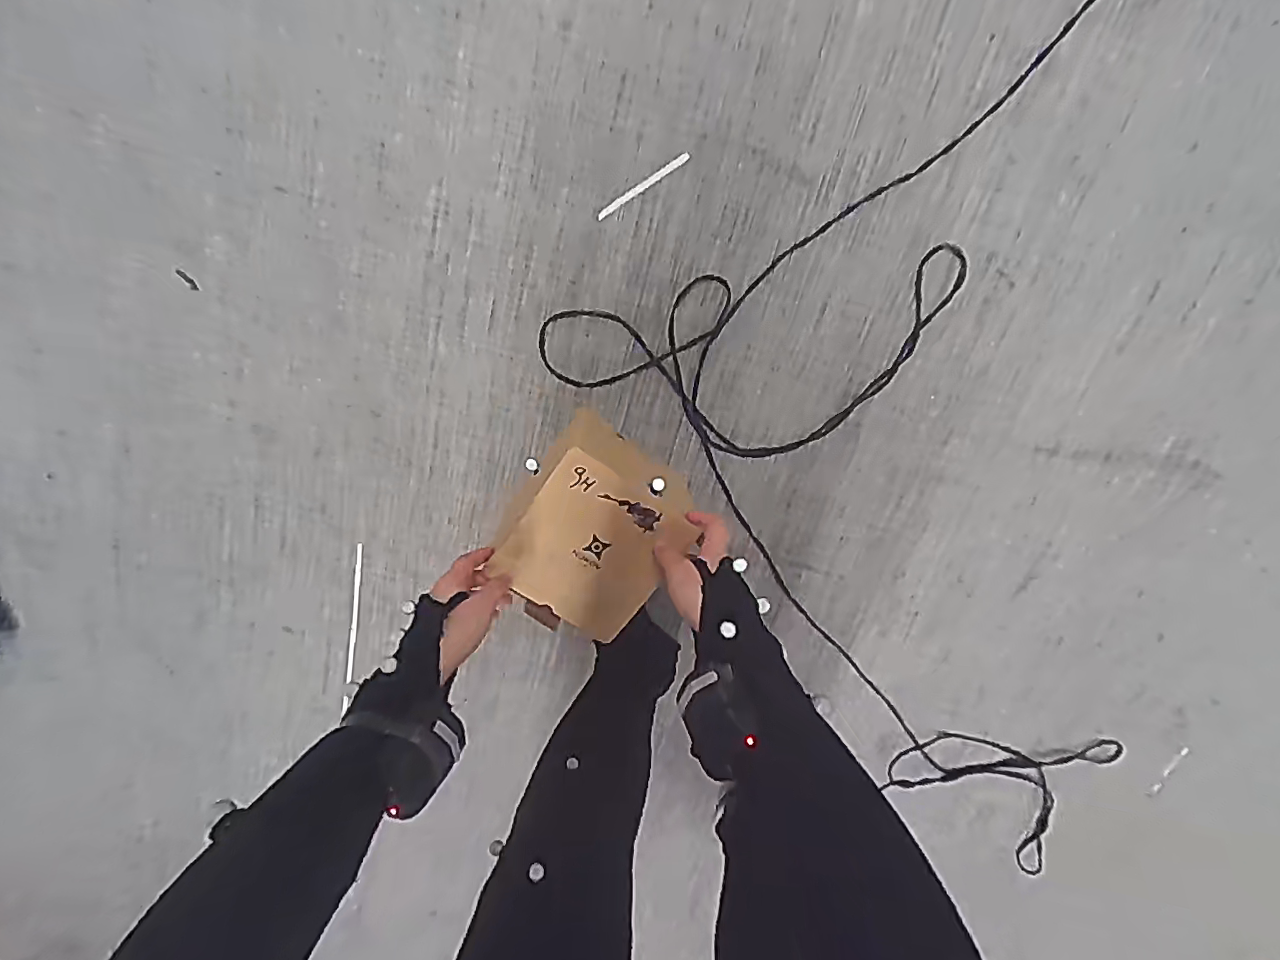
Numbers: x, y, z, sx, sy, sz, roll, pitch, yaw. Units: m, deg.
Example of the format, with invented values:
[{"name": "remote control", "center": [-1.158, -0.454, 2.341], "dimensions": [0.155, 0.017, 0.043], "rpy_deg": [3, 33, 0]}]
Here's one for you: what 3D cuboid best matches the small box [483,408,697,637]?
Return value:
[{"name": "small box", "center": [-0.055, 0.042, 0.642], "dimensions": [0.168, 0.176, 0.179], "rpy_deg": [33, 106, -15]}]
